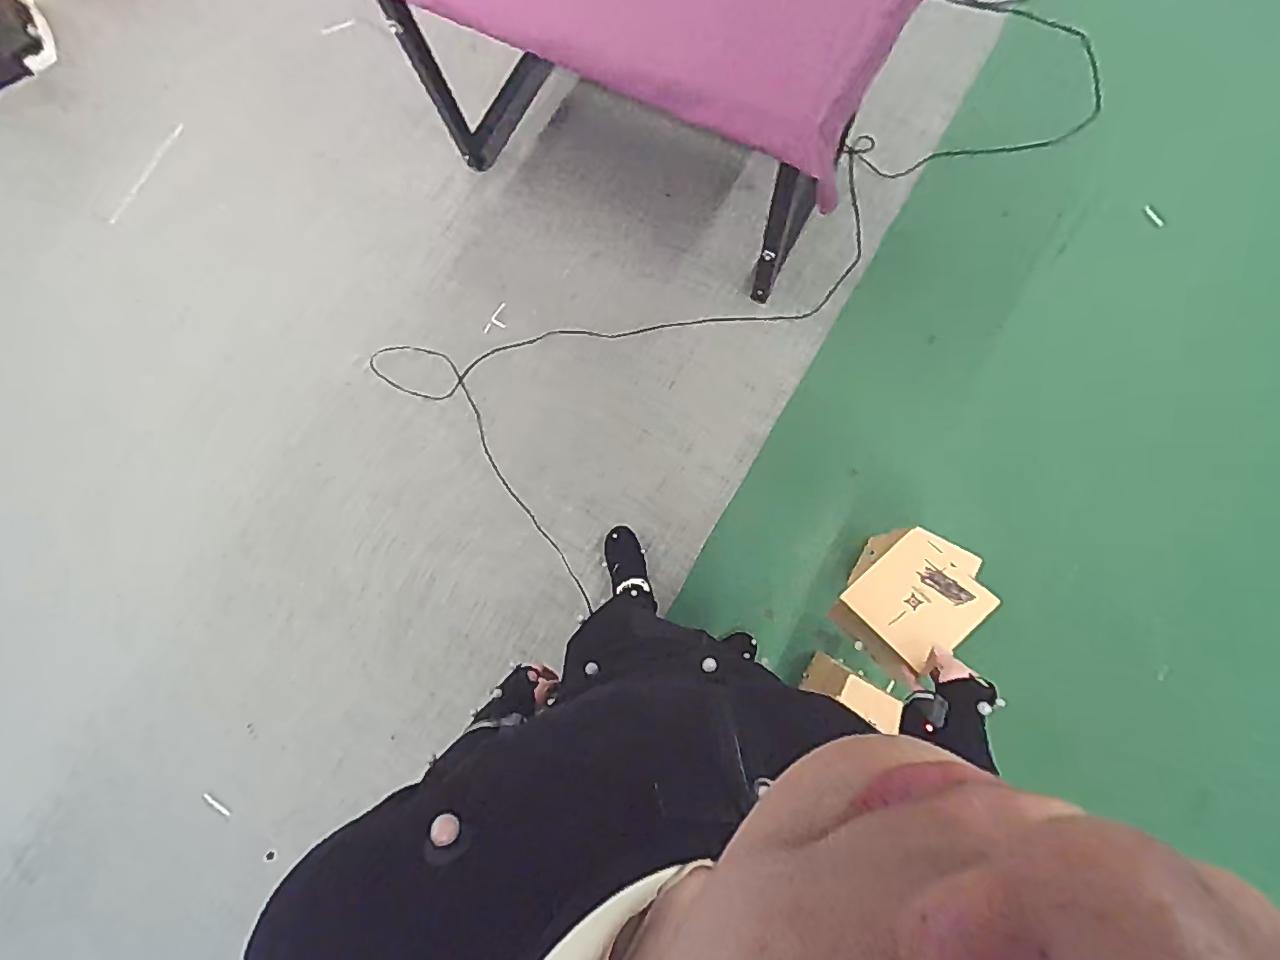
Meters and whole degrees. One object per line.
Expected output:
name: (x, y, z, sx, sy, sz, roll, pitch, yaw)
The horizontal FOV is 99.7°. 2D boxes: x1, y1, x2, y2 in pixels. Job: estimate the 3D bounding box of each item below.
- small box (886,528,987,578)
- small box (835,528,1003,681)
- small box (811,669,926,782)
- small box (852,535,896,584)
small box: (0.701, 0.237, 1.335, 0.168, 0.176, 0.179, 29, 84, 9)
small box: (0.453, 0.215, 0.914, 0.179, 0.176, 0.168, -41, 64, -6)
small box: (0.534, 0.573, 1.293, 0.179, 0.176, 0.168, 29, 85, 10)
small box: (0.718, 0.269, 1.495, 0.179, 0.176, 0.168, 29, 84, 8)
